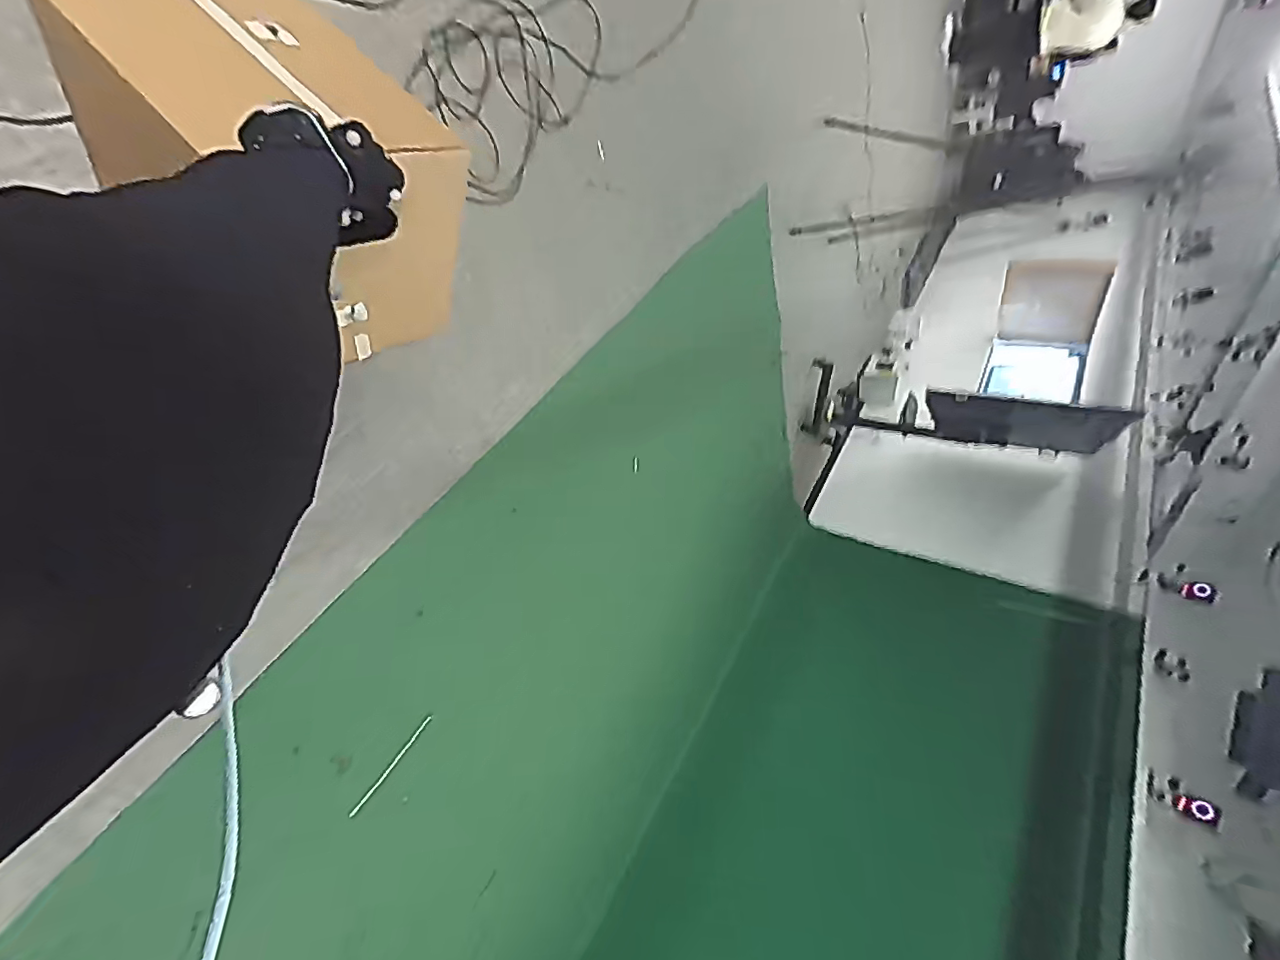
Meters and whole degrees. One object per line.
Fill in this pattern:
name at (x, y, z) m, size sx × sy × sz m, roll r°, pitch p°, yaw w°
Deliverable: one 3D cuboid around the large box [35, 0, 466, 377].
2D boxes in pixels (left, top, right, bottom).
large box at (-0.516, -0.424, 0.782) m, size 0.320 × 0.408 × 0.320 m, roll -36°, pitch 164°, yaw -41°
